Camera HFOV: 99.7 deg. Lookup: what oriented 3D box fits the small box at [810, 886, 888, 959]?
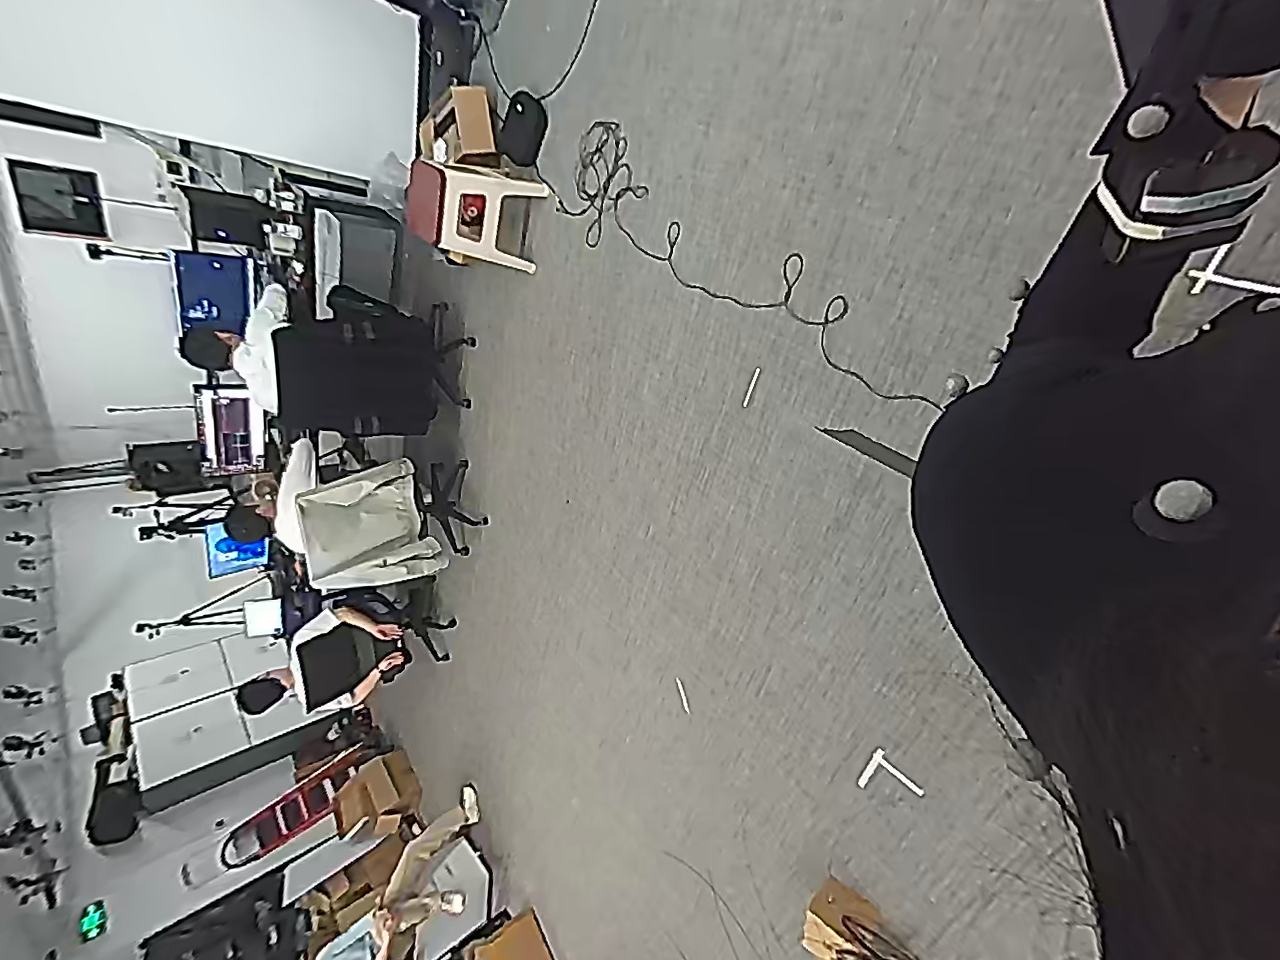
[{"bbox_3d":[0.682,1.484,1.765,0.179,0.176,0.168,15,110,43],"label":"small box"}]
